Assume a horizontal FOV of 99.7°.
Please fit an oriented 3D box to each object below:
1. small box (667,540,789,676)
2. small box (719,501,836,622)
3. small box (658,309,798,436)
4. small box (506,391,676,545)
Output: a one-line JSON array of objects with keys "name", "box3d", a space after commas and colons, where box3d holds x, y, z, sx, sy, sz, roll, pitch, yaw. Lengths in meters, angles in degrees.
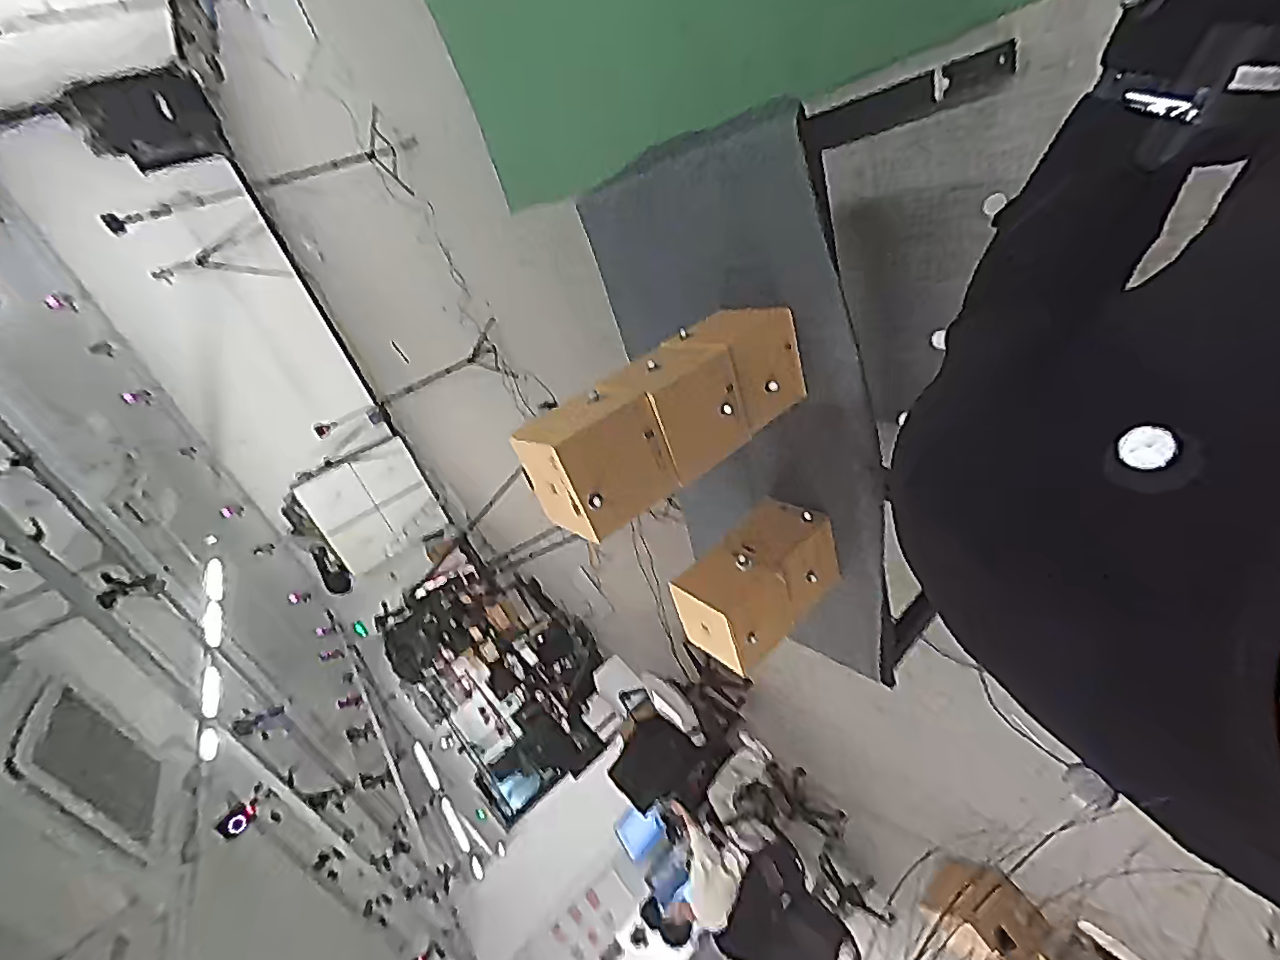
[{"name": "small box", "box3d": [0.189, 0.257, 1.118, 0.168, 0.176, 0.179, 20, 137, 49]}, {"name": "small box", "box3d": [0.306, 0.170, 1.189, 0.168, 0.176, 0.179, 20, 138, 50]}, {"name": "small box", "box3d": [0.168, -0.201, 0.983, 0.179, 0.176, 0.168, 20, 138, 51]}, {"name": "small box", "box3d": [-0.074, -0.029, 0.843, 0.179, 0.176, 0.168, 16, 135, 54]}]
